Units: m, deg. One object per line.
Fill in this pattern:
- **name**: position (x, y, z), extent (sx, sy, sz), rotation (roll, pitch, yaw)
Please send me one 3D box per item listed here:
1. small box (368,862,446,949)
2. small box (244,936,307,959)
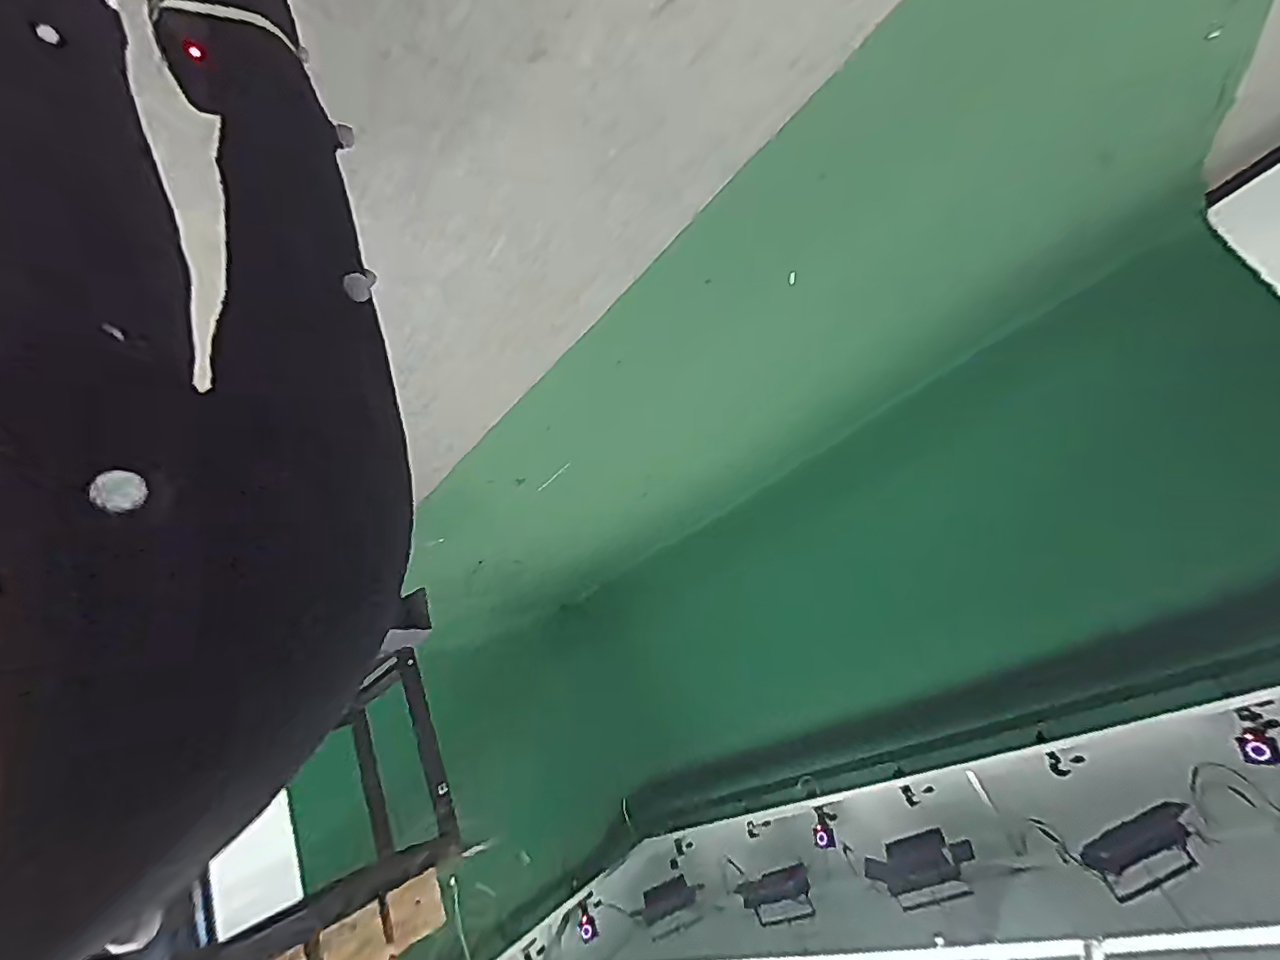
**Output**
- **small box**: position (-0.768, 1.387, 1.771), extent (0.179, 0.176, 0.168), rotation (-37, 156, 33)
- **small box**: position (-1.006, 1.367, 1.452), extent (0.179, 0.176, 0.168), rotation (-37, 157, 35)
